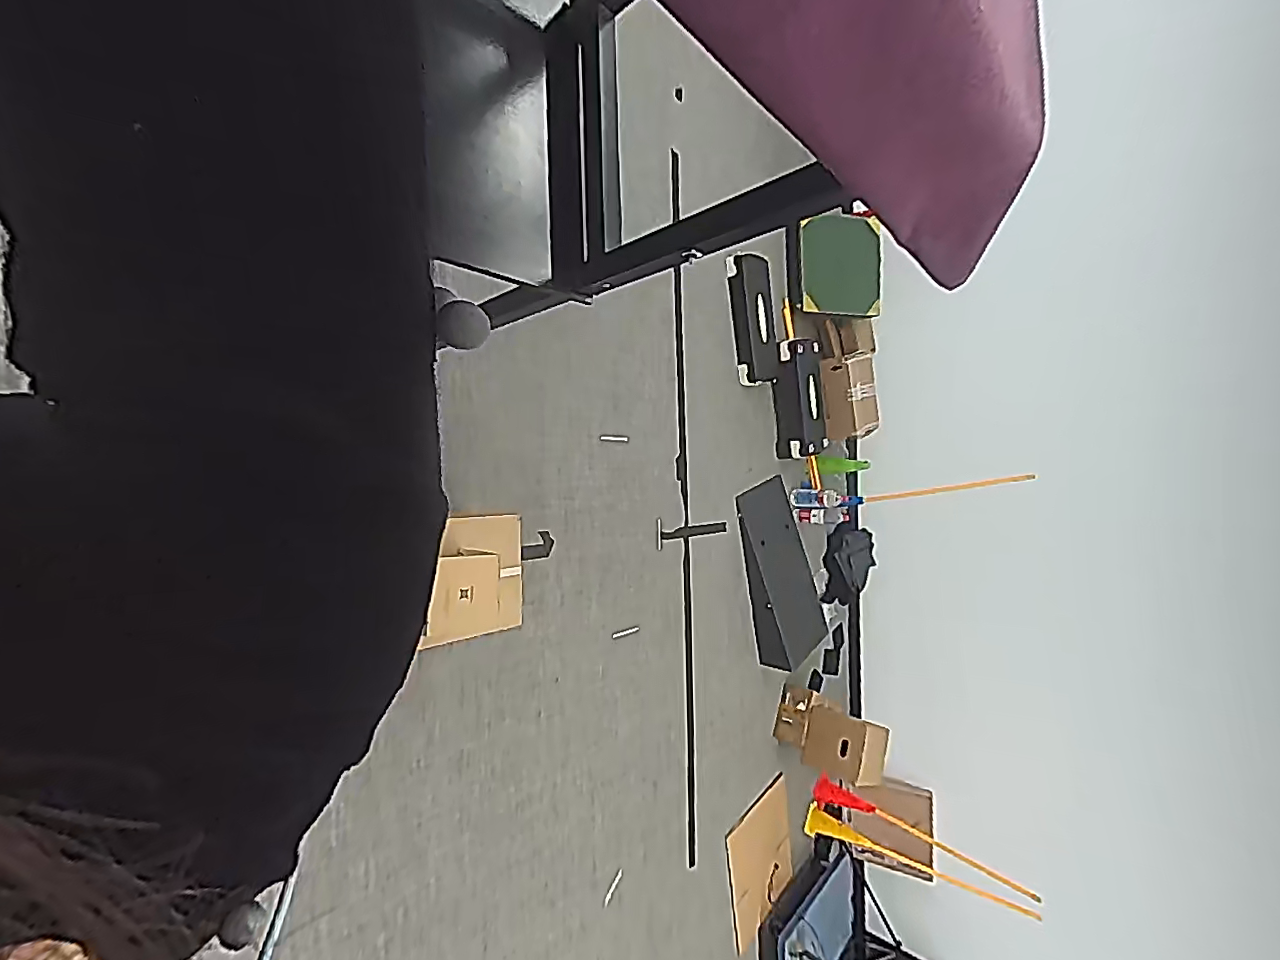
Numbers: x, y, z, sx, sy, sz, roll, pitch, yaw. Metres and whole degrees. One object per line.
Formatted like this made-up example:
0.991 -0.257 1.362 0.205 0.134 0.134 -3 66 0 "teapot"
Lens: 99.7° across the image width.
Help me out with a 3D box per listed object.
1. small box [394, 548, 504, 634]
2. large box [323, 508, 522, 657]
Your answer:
-0.434 0.244 1.233 0.179 0.176 0.168 4 85 -47 "small box"
-0.574 0.241 1.444 0.408 0.320 0.320 -1 92 -48 "large box"
